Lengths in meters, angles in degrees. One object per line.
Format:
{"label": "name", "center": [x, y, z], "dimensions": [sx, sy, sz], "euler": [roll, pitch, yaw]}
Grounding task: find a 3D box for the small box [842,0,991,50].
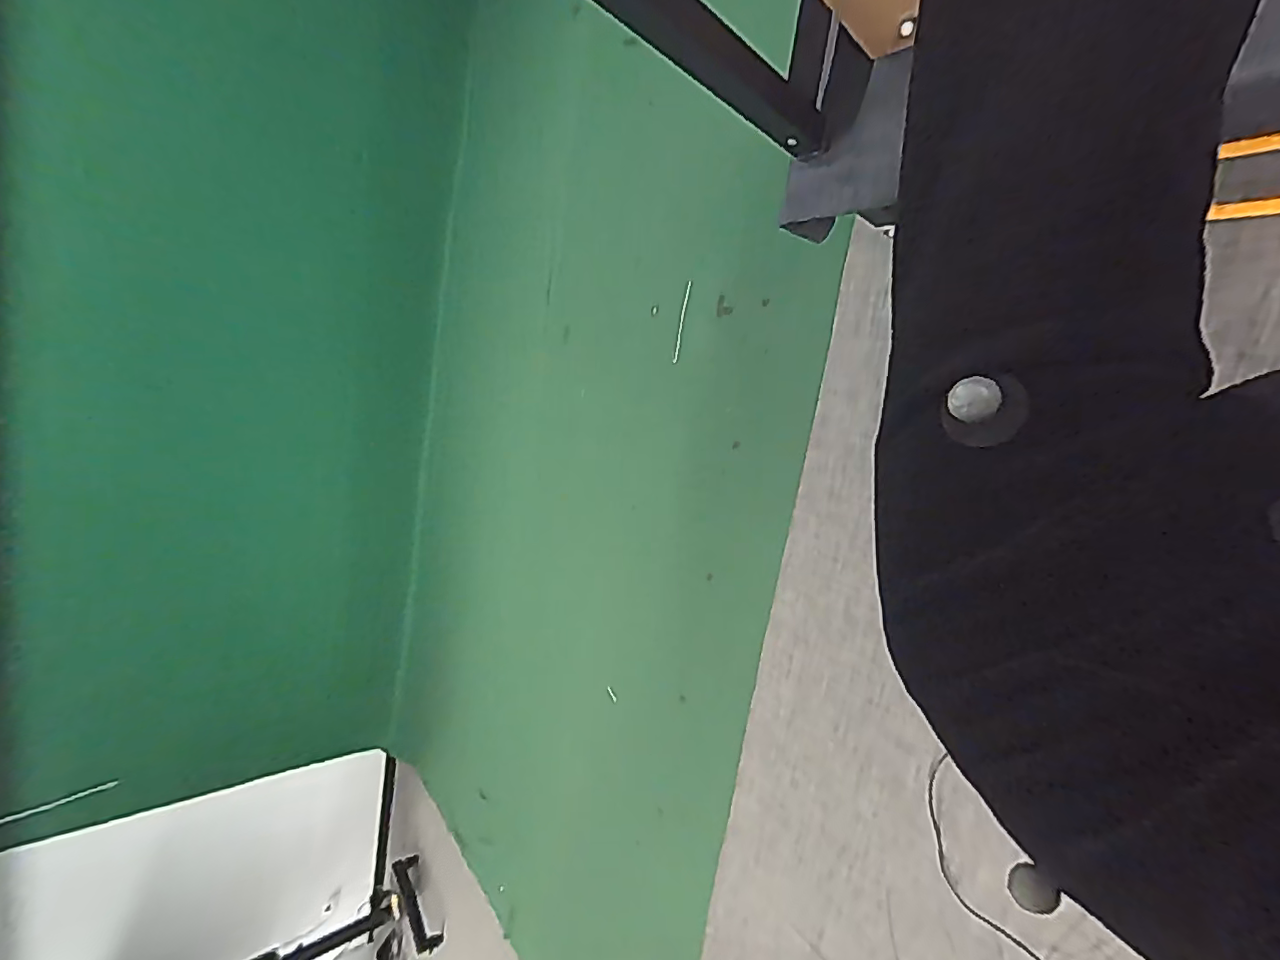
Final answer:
{"label": "small box", "center": [0.366, -0.724, 0.707], "dimensions": [0.168, 0.176, 0.179], "euler": [17, 102, 47]}
